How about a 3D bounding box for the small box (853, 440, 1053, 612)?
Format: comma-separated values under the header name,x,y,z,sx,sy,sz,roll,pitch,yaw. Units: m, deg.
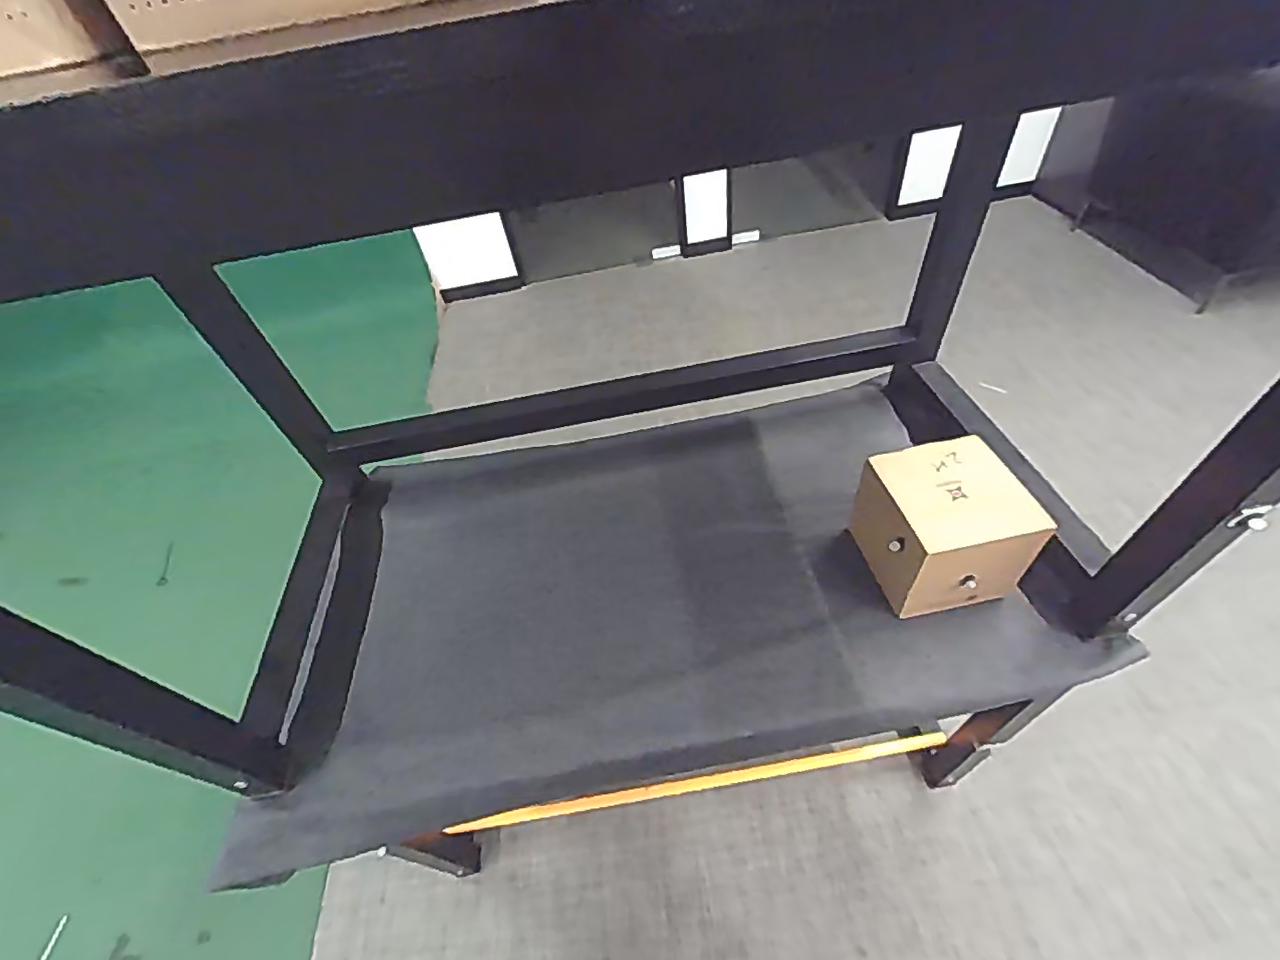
name,x,y,z,sx,sy,sz,roll,pitch,yaw
small box,0.430,0.074,0.780,0.168,0.176,0.179,-12,46,-1
